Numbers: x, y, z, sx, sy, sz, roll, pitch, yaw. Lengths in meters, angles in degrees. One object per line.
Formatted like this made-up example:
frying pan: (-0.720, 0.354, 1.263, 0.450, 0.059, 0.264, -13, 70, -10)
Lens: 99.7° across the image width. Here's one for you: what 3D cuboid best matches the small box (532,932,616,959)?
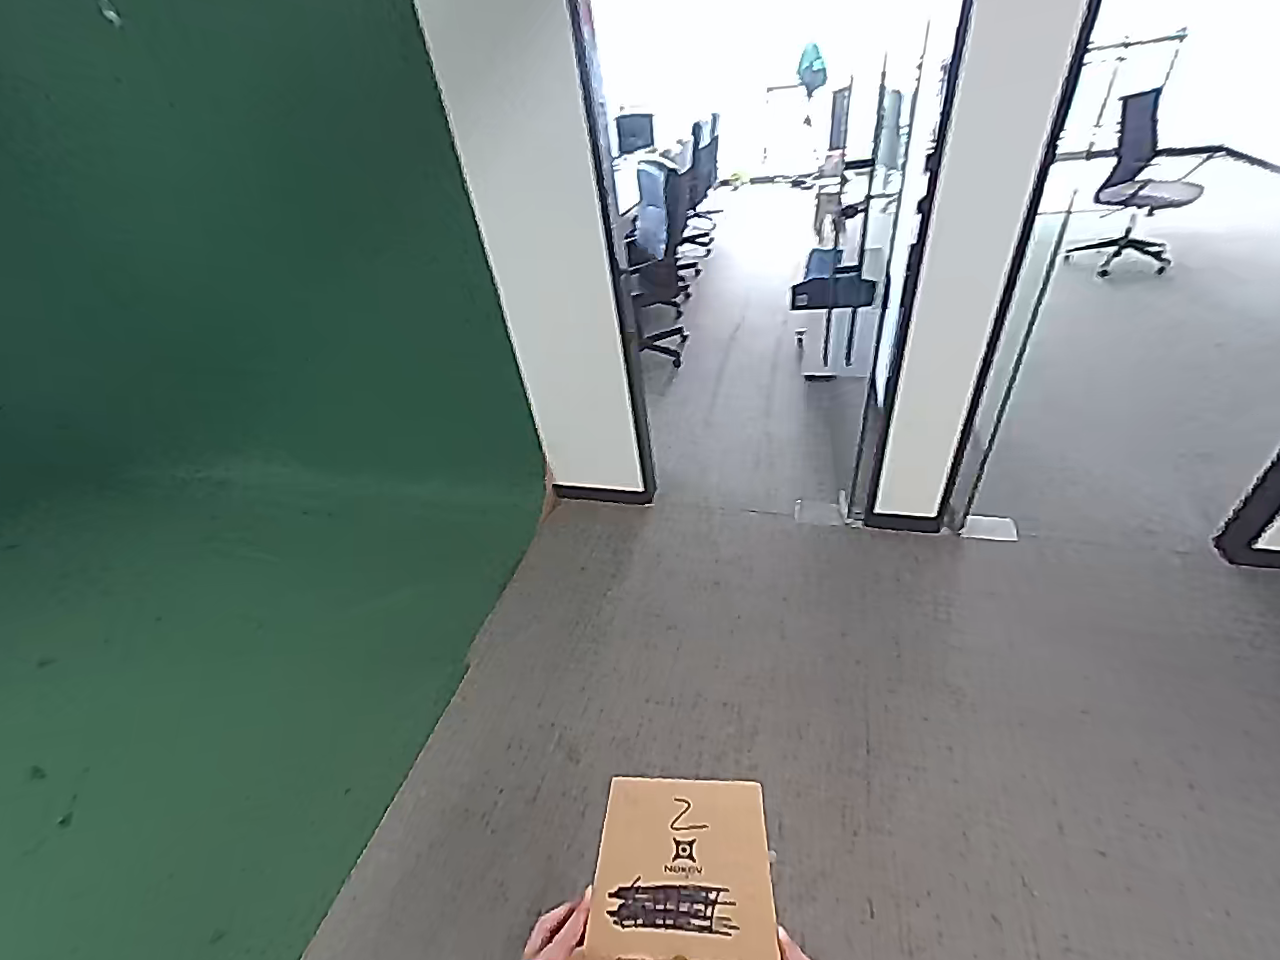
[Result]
small box: (-0.148, 1.112, 1.153, 0.179, 0.176, 0.168, 5, 40, 16)
